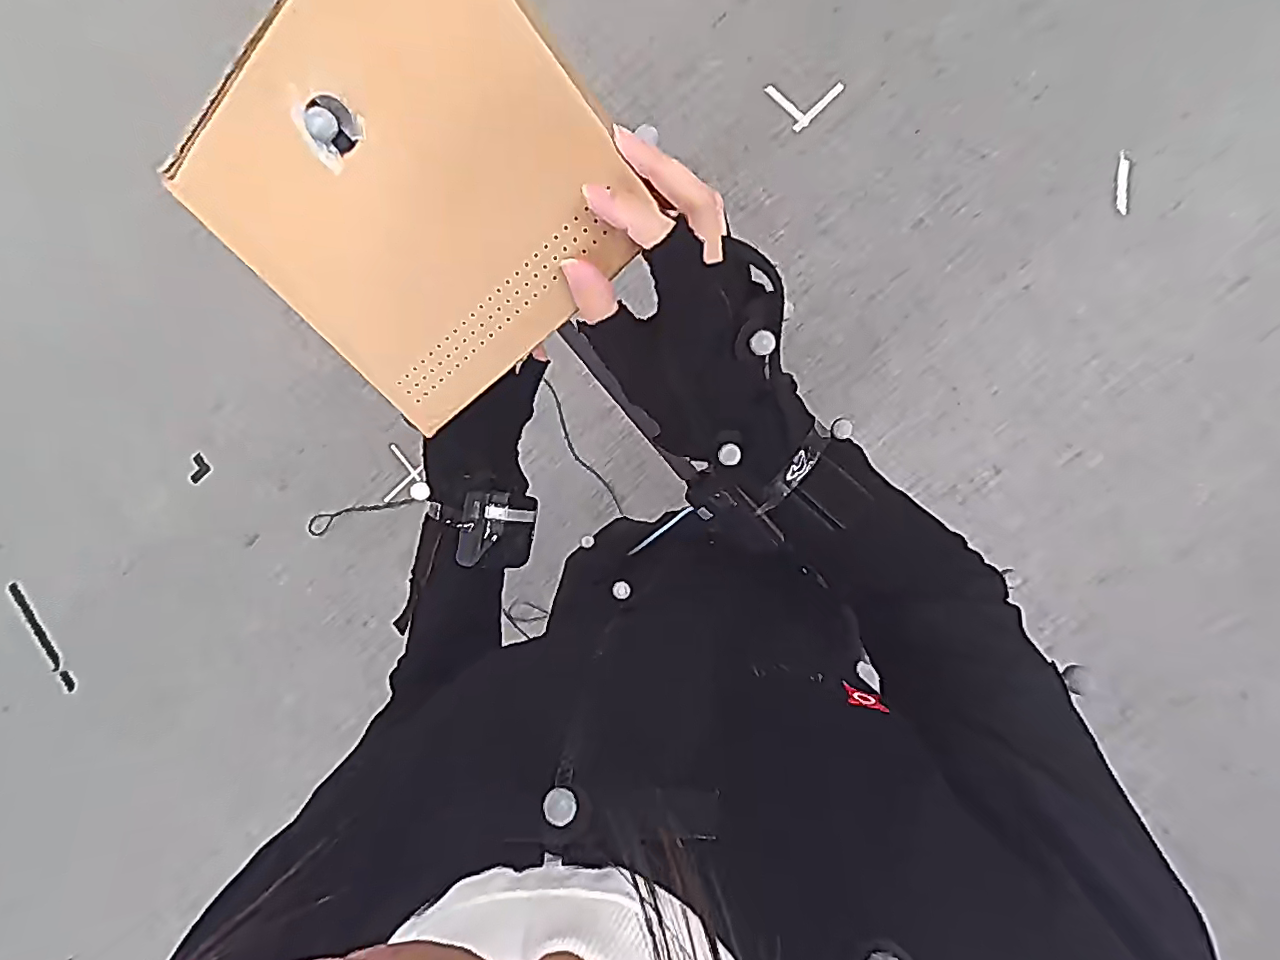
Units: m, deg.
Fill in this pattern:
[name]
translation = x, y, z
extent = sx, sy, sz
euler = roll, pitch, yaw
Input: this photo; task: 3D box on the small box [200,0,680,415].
[small box]
translation = -0.095, -0.169, 0.332
extent = 0.179, 0.168, 0.176
euler = -34, 112, 20
